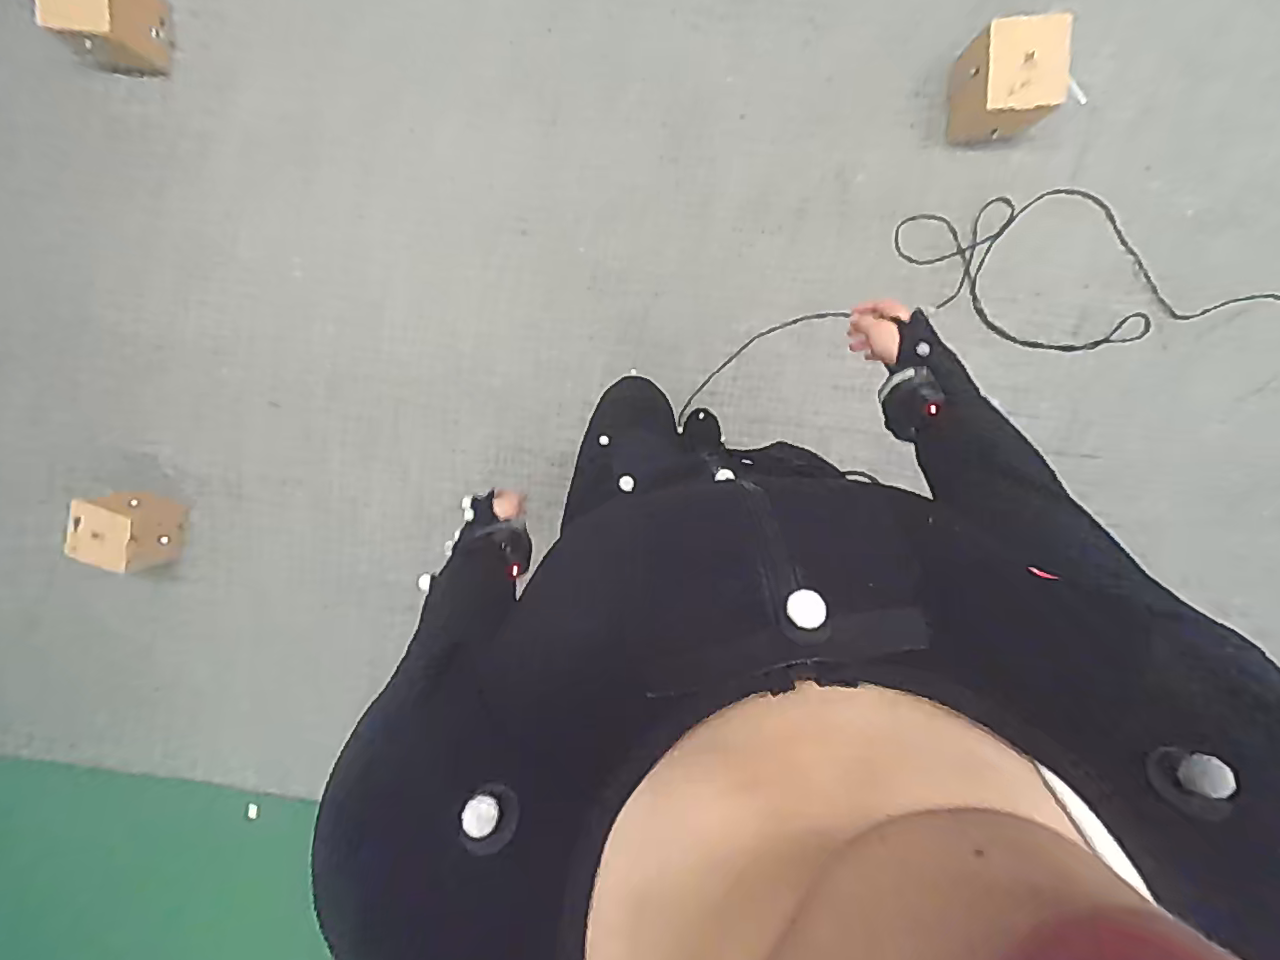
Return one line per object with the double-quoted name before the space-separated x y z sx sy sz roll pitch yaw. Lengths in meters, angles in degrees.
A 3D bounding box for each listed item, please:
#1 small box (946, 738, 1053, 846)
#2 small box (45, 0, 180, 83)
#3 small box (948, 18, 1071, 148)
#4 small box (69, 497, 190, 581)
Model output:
"small box" 0.959 0.836 1.461 0.168 0.176 0.179 8 98 2
"small box" -1.278 -1.105 1.316 0.179 0.176 0.168 6 100 1
"small box" 0.817 -0.880 1.211 0.168 0.176 0.179 -3 99 4
"small box" -1.414 0.156 1.510 0.179 0.176 0.168 18 99 0
